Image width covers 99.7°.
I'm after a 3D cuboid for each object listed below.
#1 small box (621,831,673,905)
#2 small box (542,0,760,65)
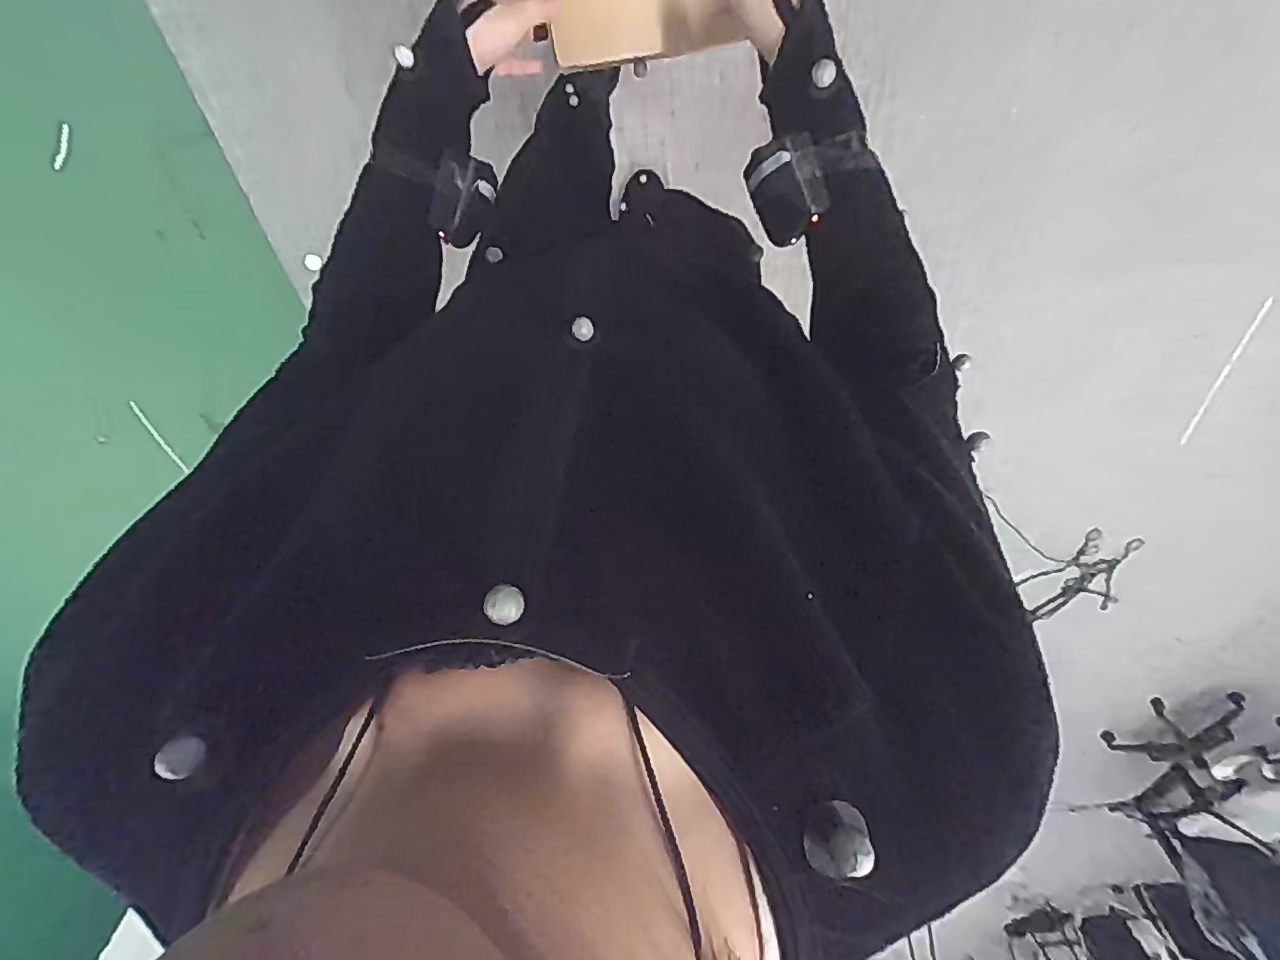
[{"bbox_3d":[0.026,1.295,1.805,0.168,0.176,0.179,-3,129,1],"label":"small box"},{"bbox_3d":[-0.002,-0.471,0.463,0.179,0.176,0.168,-9,126,-1],"label":"small box"}]
